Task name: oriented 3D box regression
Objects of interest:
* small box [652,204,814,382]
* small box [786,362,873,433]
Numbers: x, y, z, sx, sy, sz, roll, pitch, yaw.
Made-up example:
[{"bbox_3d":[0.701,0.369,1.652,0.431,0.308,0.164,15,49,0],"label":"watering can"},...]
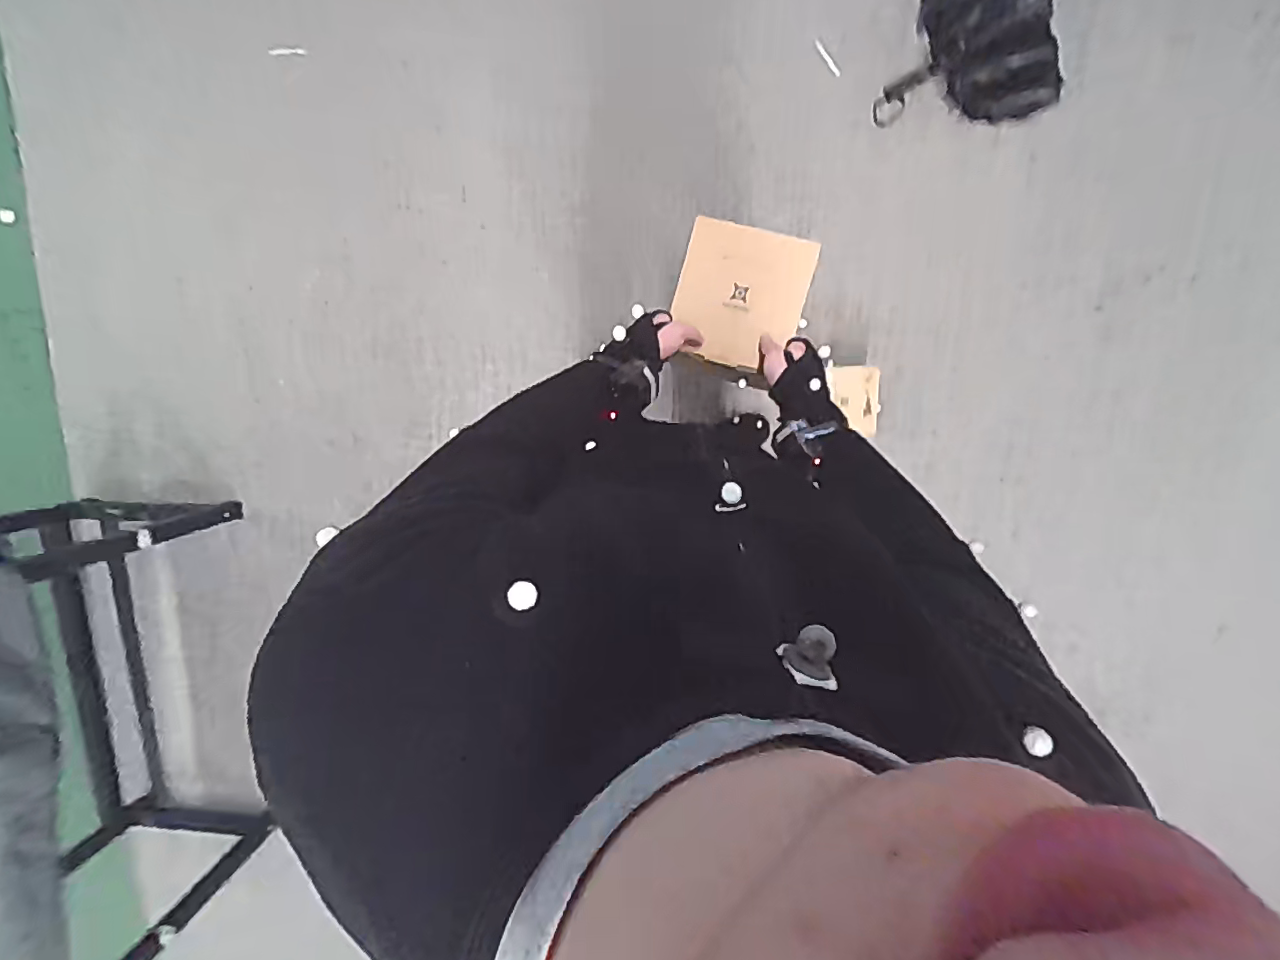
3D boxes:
[{"bbox_3d":[0.124,-0.245,0.756,0.168,0.176,0.179,16,94,5],"label":"small box"},{"bbox_3d":[0.473,-0.212,1.376,0.179,0.176,0.168,2,101,6],"label":"small box"}]
